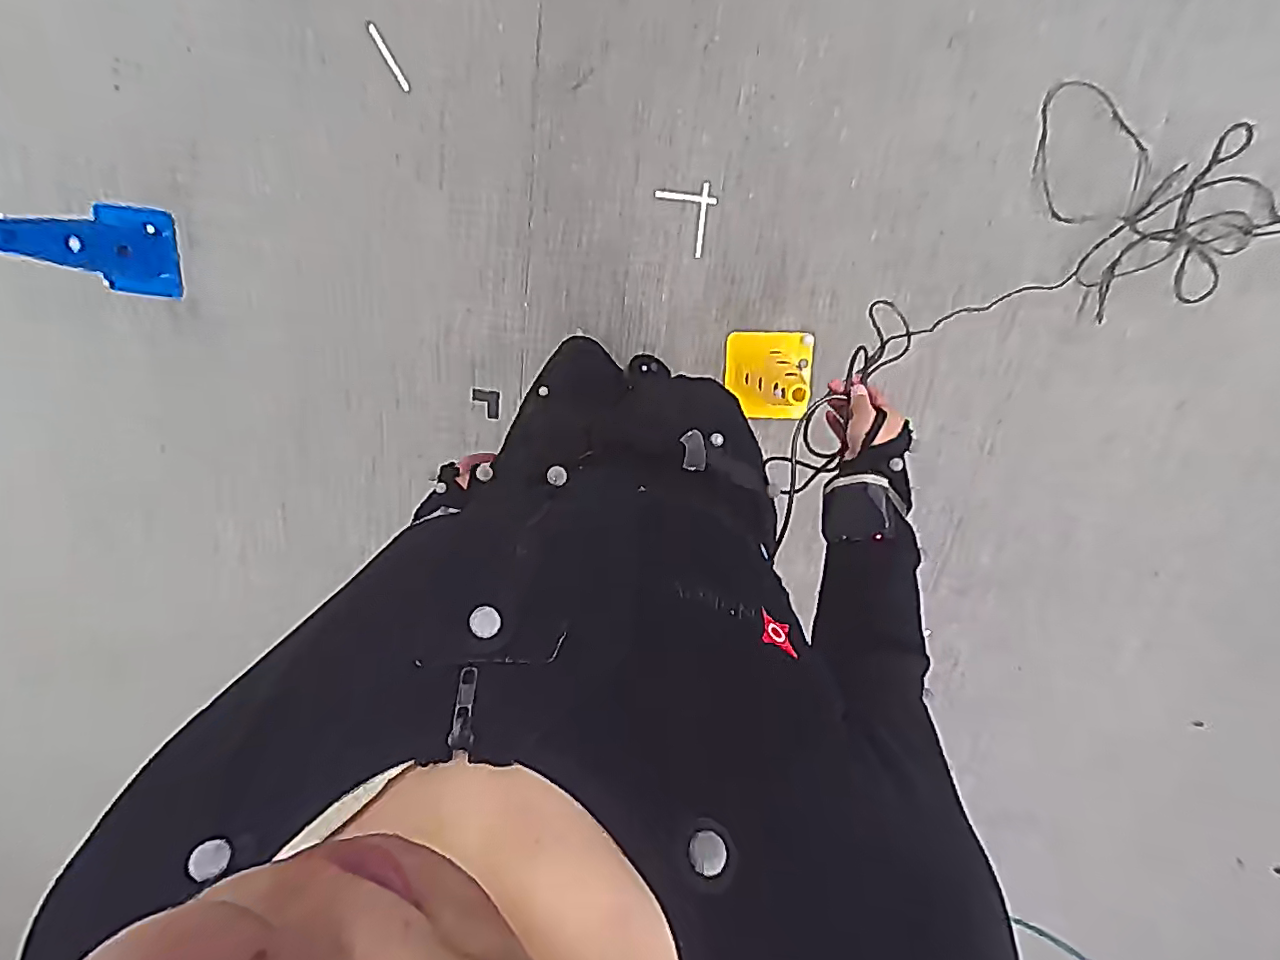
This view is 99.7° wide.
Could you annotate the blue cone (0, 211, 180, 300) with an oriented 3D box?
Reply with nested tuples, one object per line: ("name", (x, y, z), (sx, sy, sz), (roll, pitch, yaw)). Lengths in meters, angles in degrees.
("blue cone", (-1.226, -0.491, 1.149), (0.193, 0.380, 0.192), (9, 108, 2))
